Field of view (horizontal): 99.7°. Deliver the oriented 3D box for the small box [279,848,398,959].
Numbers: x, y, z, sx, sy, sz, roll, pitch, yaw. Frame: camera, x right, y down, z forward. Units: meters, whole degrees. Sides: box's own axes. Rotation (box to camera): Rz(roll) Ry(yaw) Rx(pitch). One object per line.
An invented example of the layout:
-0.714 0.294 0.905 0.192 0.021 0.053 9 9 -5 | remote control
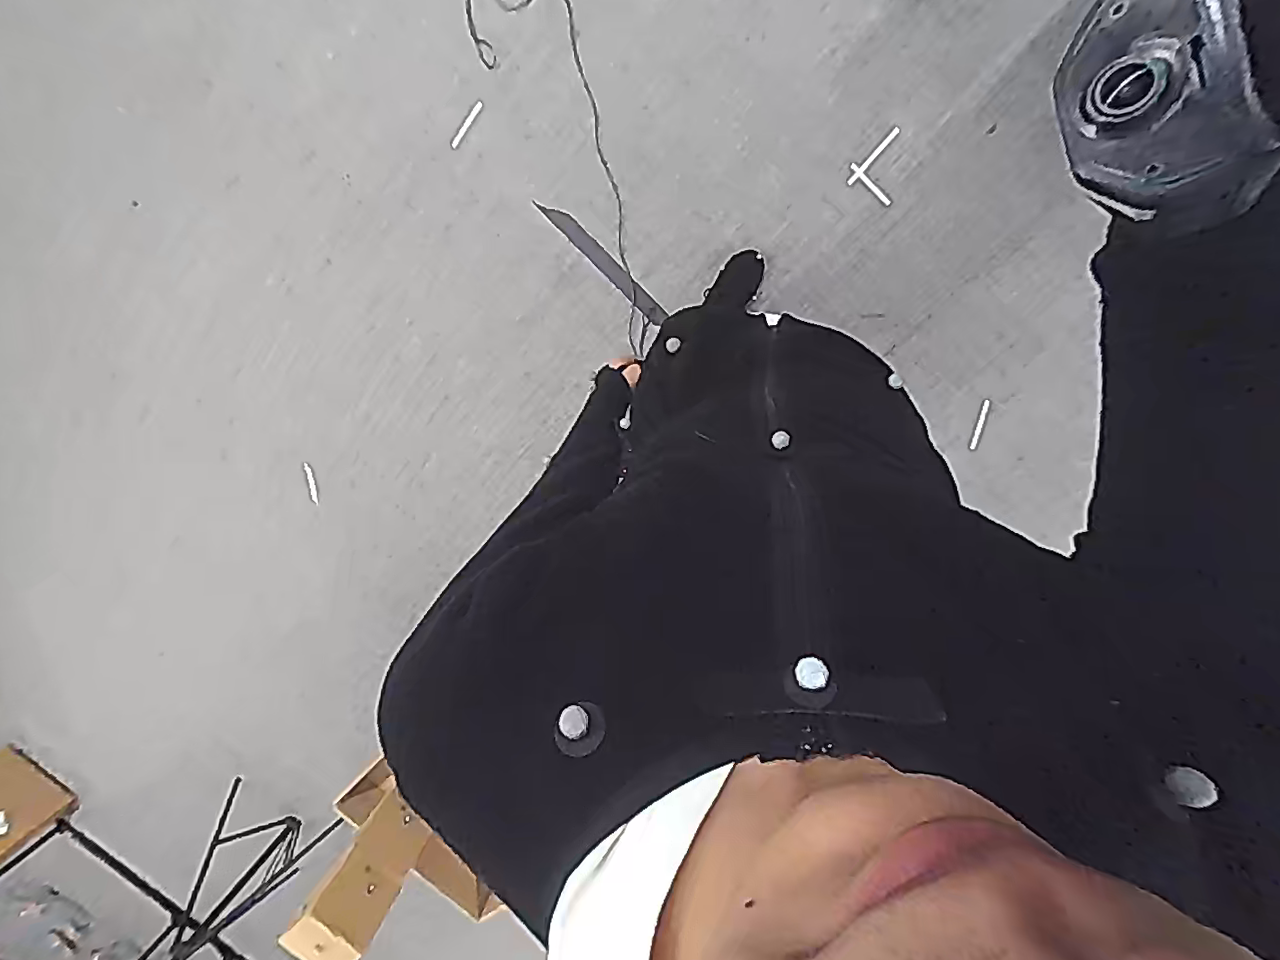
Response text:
-0.750 1.084 1.362 0.168 0.176 0.179 42 110 -5 | small box
